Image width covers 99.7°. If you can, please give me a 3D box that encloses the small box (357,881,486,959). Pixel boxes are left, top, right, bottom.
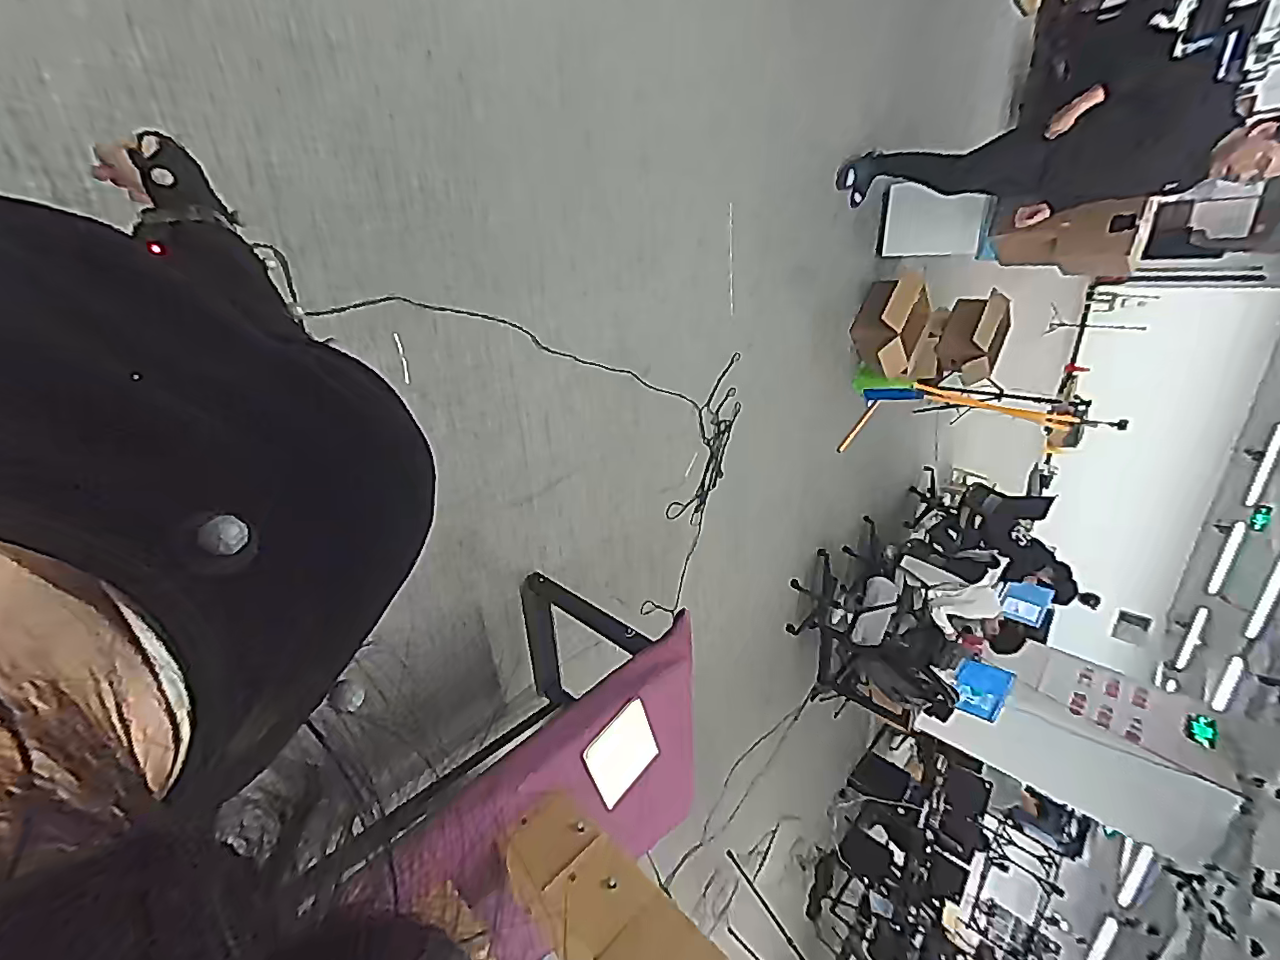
[{"bbox_3d":[-0.403,0.904,1.008,0.168,0.176,0.179,-23,122,-41],"label":"small box"}]

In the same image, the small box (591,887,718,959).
[{"bbox_3d":[0.016,0.897,0.965,0.179,0.176,0.168,-21,121,-43],"label":"small box"}]

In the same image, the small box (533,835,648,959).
[{"bbox_3d":[-0.098,0.858,1.078,0.168,0.176,0.179,-23,122,-41],"label":"small box"}]
